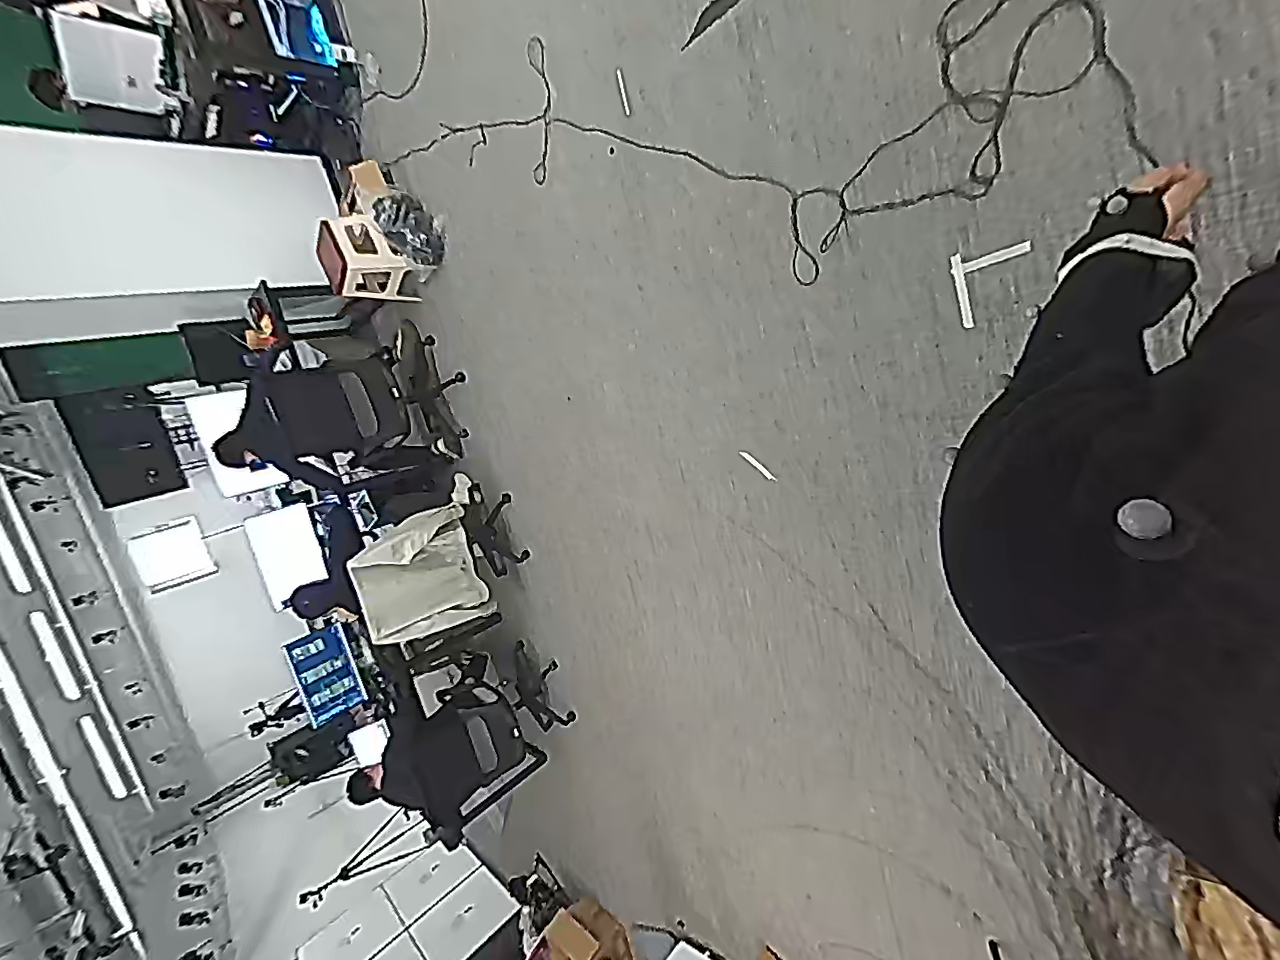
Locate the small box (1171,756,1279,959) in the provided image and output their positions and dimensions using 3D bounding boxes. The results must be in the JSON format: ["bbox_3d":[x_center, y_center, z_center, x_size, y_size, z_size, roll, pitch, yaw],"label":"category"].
[{"bbox_3d":[0.642,0.419,0.528,0.168,0.176,0.179,-1,106,47],"label":"small box"}]
